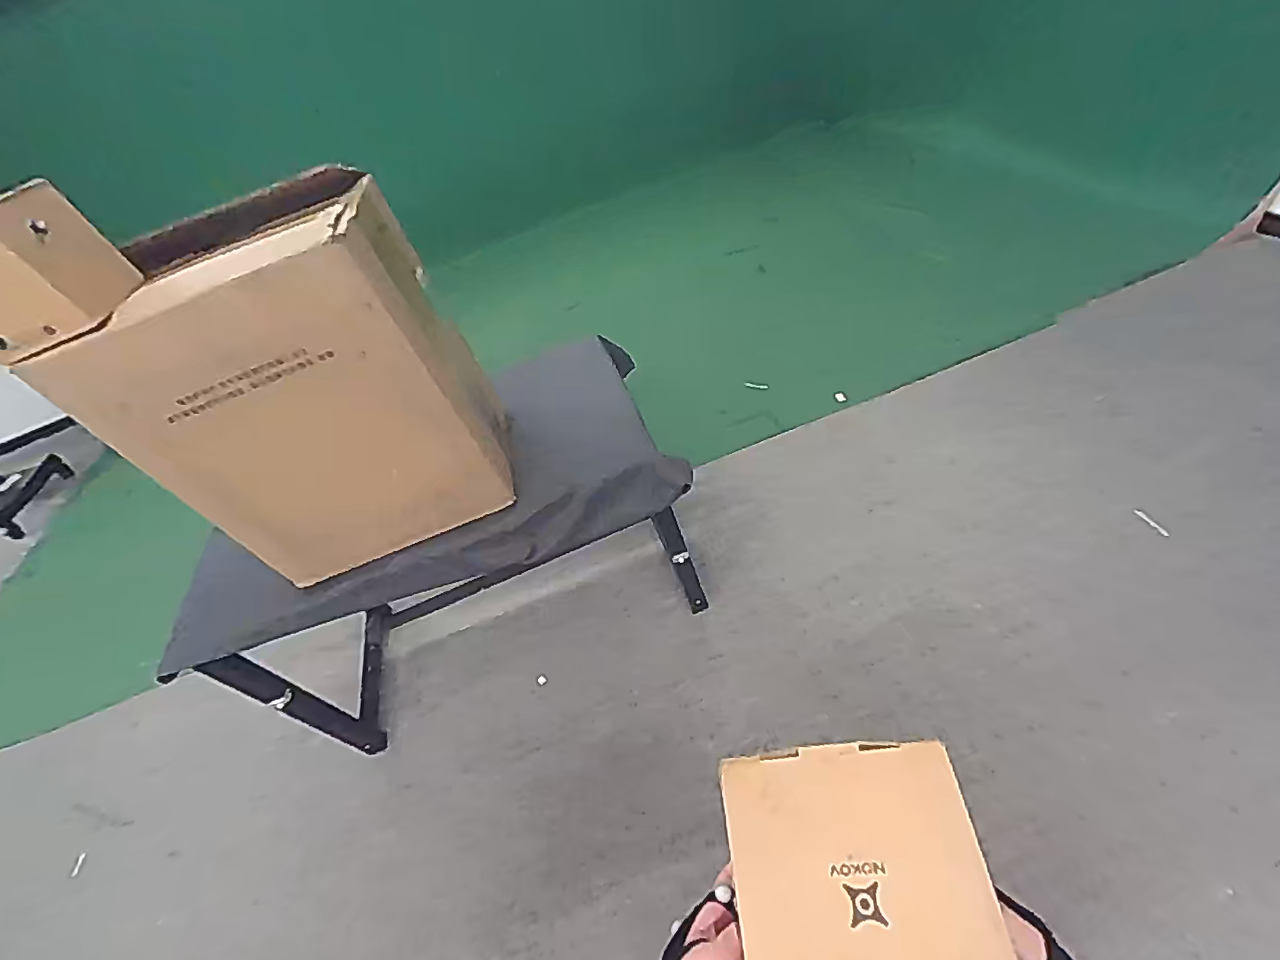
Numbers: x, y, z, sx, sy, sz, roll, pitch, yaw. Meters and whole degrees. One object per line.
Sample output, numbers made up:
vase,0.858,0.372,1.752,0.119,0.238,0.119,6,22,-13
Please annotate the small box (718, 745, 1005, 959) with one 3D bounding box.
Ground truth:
small box,0.152,0.318,0.420,0.168,0.176,0.179,-8,57,6

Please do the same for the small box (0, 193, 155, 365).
small box,-0.904,-0.297,0.819,0.168,0.176,0.179,-22,43,3
